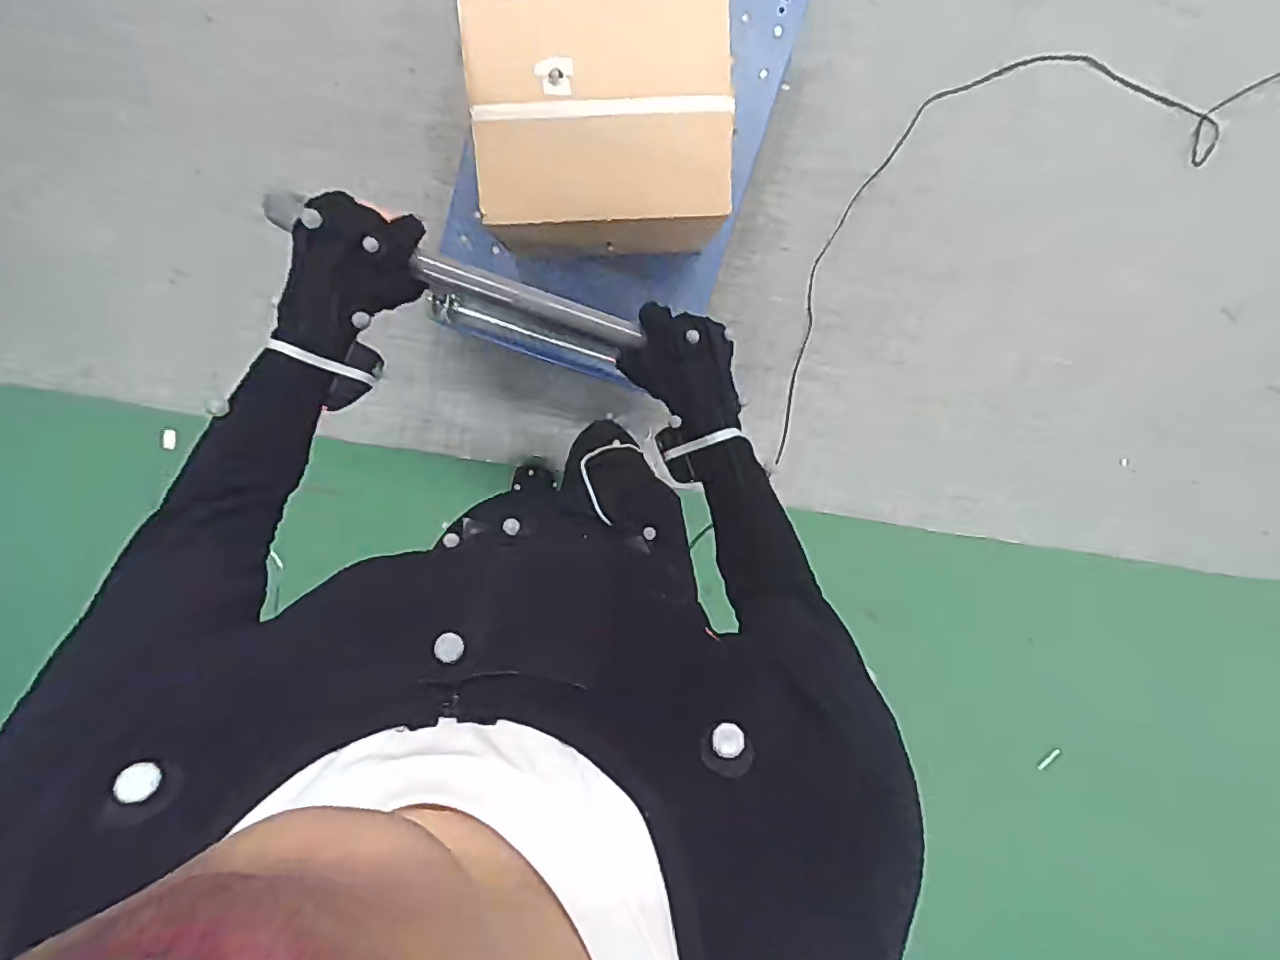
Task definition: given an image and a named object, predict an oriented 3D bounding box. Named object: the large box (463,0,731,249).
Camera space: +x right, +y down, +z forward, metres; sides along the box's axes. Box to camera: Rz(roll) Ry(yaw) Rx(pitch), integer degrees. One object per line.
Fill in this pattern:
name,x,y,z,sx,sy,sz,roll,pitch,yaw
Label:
large box,-0.061,-0.610,0.975,0.408,0.320,0.320,-2,103,-2
